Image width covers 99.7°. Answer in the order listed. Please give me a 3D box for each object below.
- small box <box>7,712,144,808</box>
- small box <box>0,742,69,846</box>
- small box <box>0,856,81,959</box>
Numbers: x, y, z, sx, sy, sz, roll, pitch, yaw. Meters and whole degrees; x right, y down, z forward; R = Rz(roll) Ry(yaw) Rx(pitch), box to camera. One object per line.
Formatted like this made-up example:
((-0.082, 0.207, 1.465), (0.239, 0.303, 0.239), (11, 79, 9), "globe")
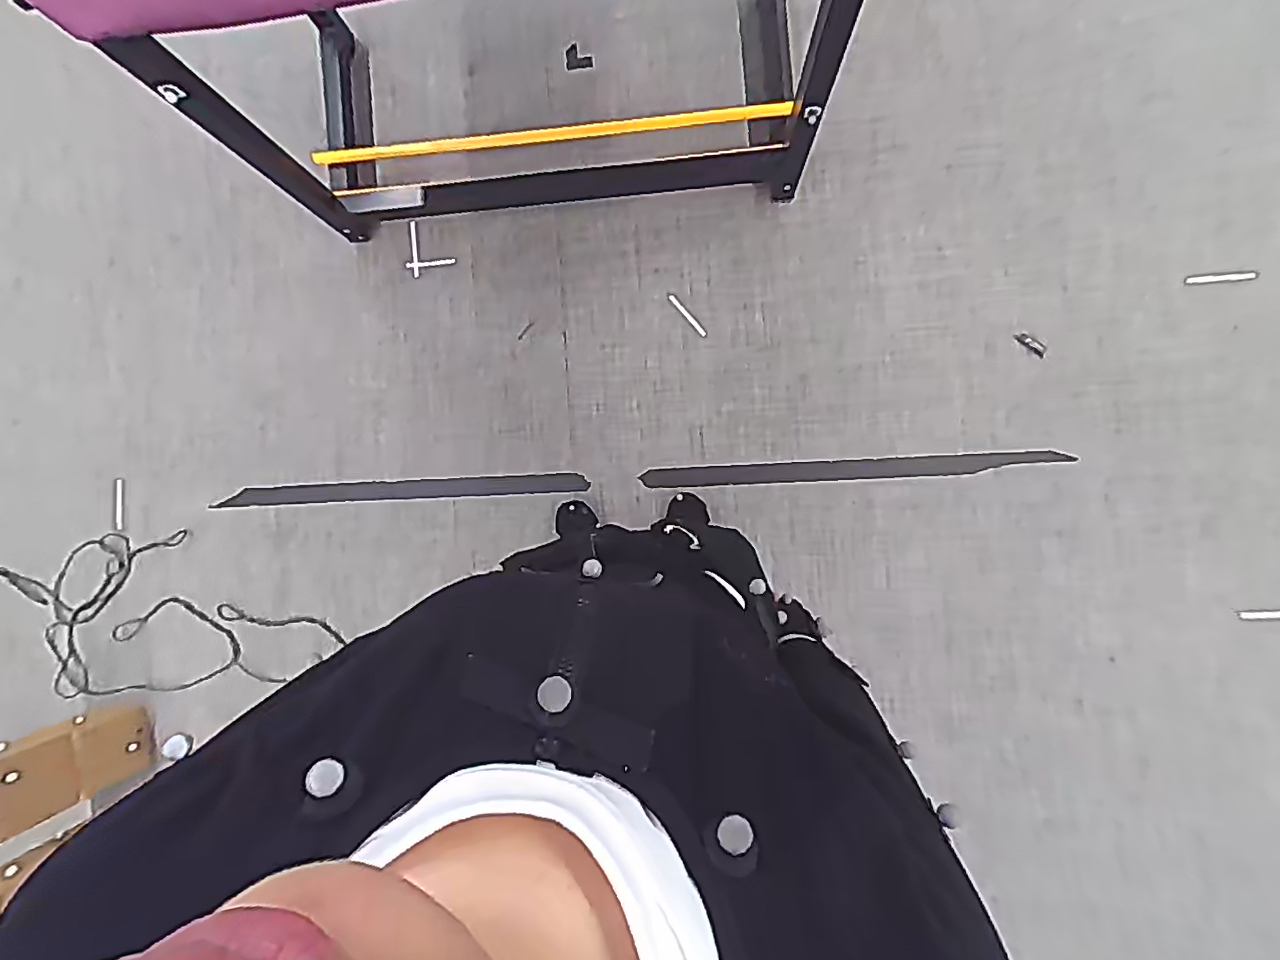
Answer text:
((-1.421, 0.707, 1.367), (0.179, 0.176, 0.168), (-8, 88, 3), "small box")
((-1.443, 0.704, 1.203), (0.168, 0.176, 0.179), (-10, 88, 4), "small box")
((-1.407, 0.971, 1.196), (0.168, 0.176, 0.179), (-11, 88, 4), "small box")
